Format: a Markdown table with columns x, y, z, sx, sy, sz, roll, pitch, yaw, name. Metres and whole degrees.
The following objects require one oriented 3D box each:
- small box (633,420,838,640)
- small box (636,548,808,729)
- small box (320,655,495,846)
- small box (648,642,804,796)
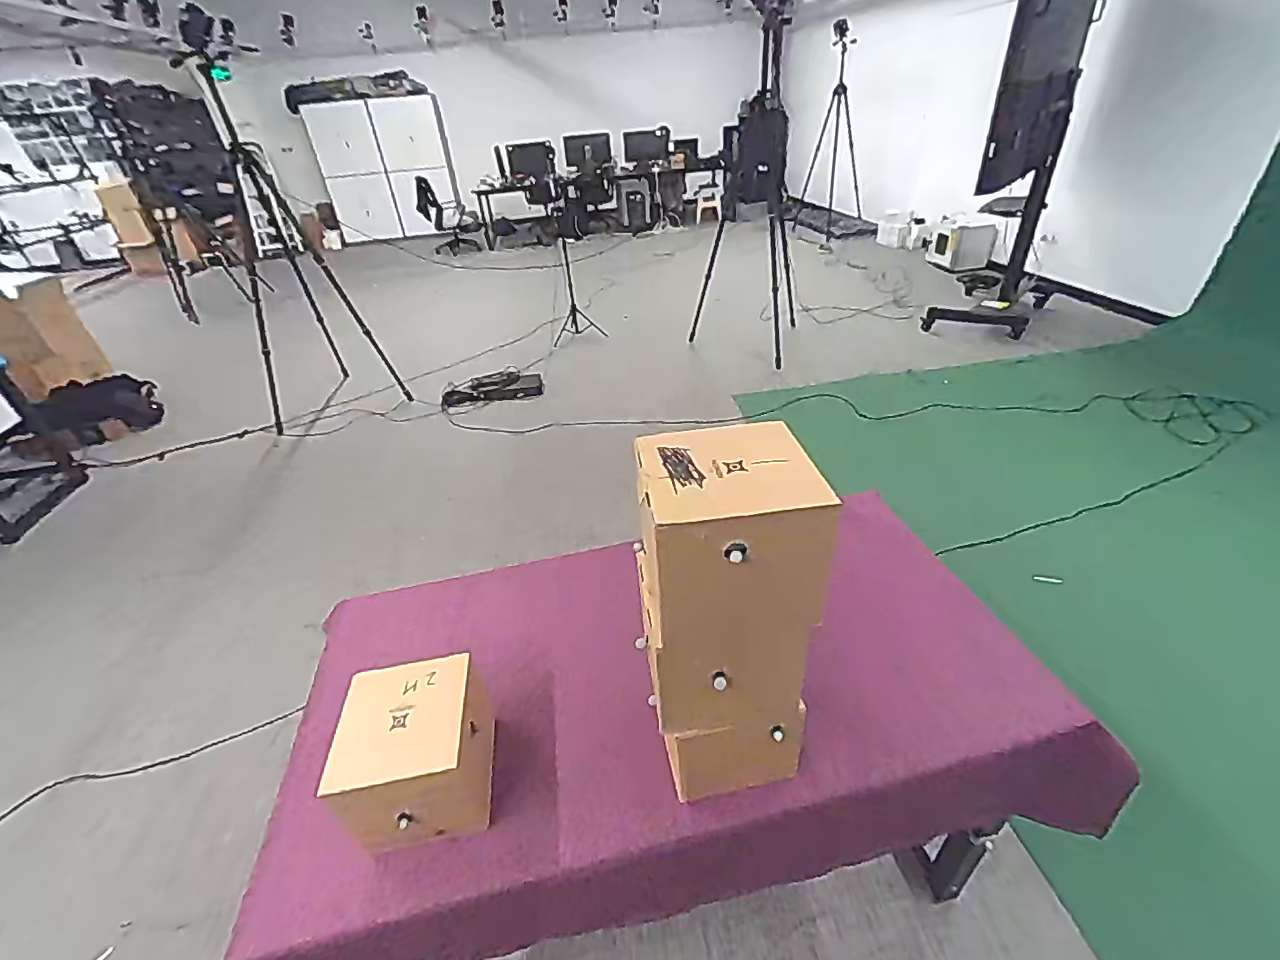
| x | y | z | sx | sy | sz | roll | pitch | yaw | name |
| --- | --- | --- | --- | --- | --- | --- | --- | --- | --- |
| 0.093 | 0.054 | 0.591 | 0.179 | 0.176 | 0.168 | -7 | 35 | -3 | small box |
| 0.097 | 0.189 | 0.685 | 0.179 | 0.176 | 0.168 | -8 | 35 | -3 | small box |
| -0.305 | 0.380 | 0.757 | 0.168 | 0.176 | 0.179 | -9 | 35 | -5 | small box |
| 0.118 | 0.322 | 0.780 | 0.179 | 0.176 | 0.168 | -10 | 35 | -6 | small box |
